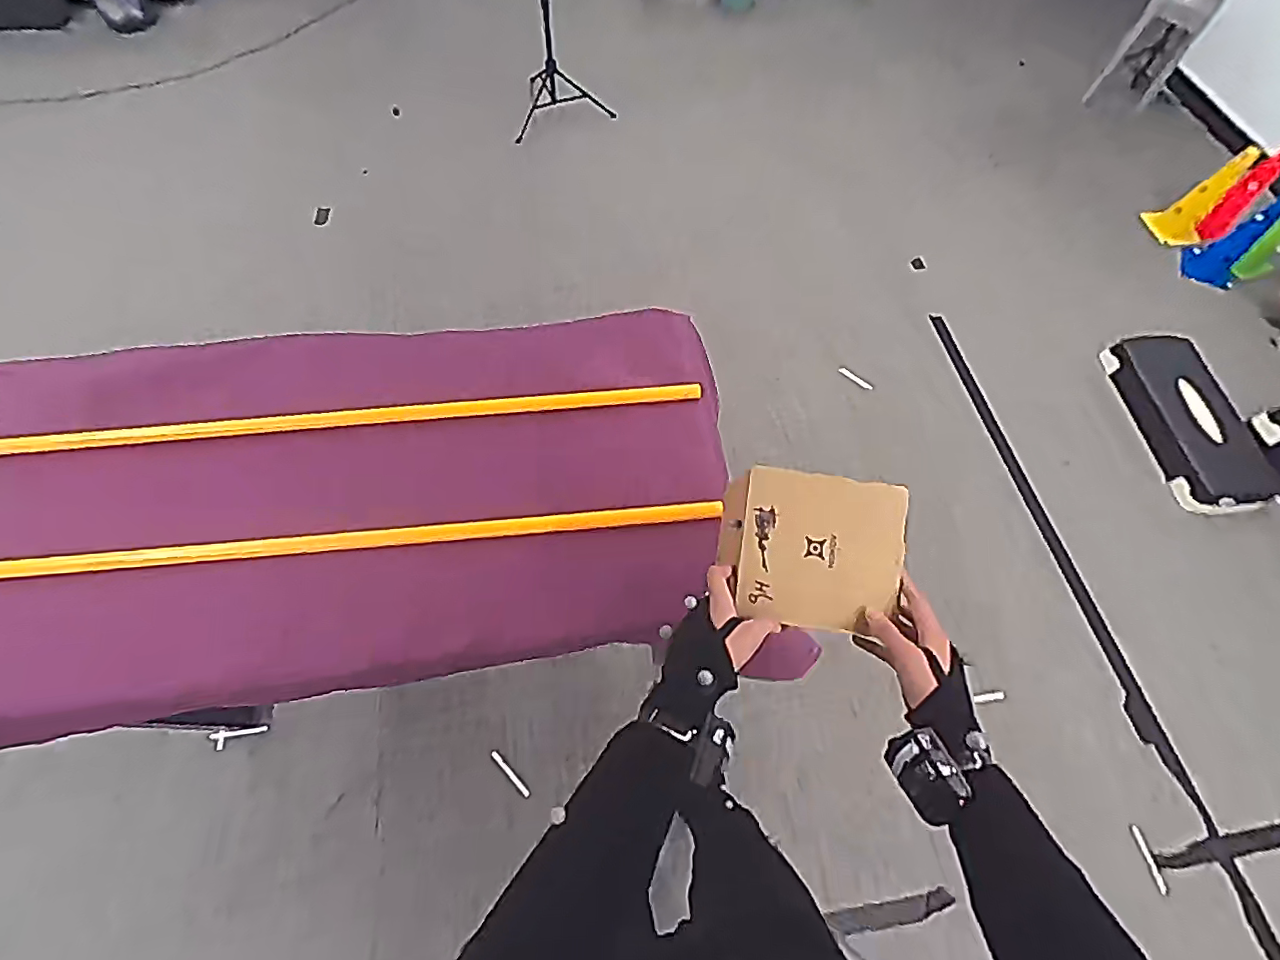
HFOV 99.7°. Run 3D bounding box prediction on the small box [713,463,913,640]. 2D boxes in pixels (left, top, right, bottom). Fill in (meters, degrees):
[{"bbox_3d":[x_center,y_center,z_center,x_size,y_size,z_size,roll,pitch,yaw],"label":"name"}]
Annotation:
[{"bbox_3d":[0.195,0.084,0.651,0.179,0.176,0.168,9,82,1],"label":"small box"}]
